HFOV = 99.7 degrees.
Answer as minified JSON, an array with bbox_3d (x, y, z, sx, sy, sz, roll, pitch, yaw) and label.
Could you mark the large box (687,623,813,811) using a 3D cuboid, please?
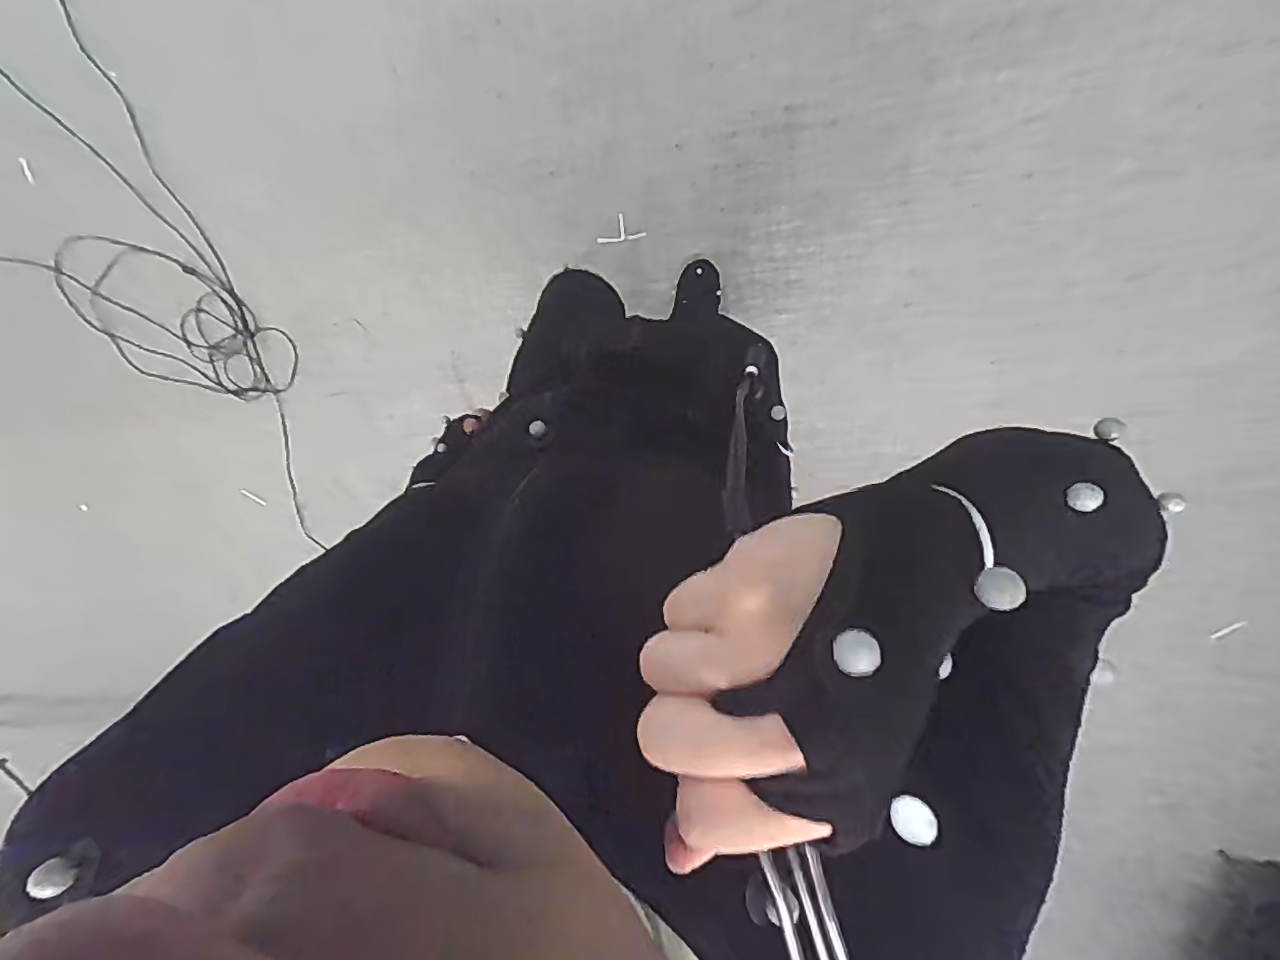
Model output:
[{"bbox_3d":[0.296,0.671,1.567,0.320,0.320,0.408,2,113,7],"label":"large box"}]
